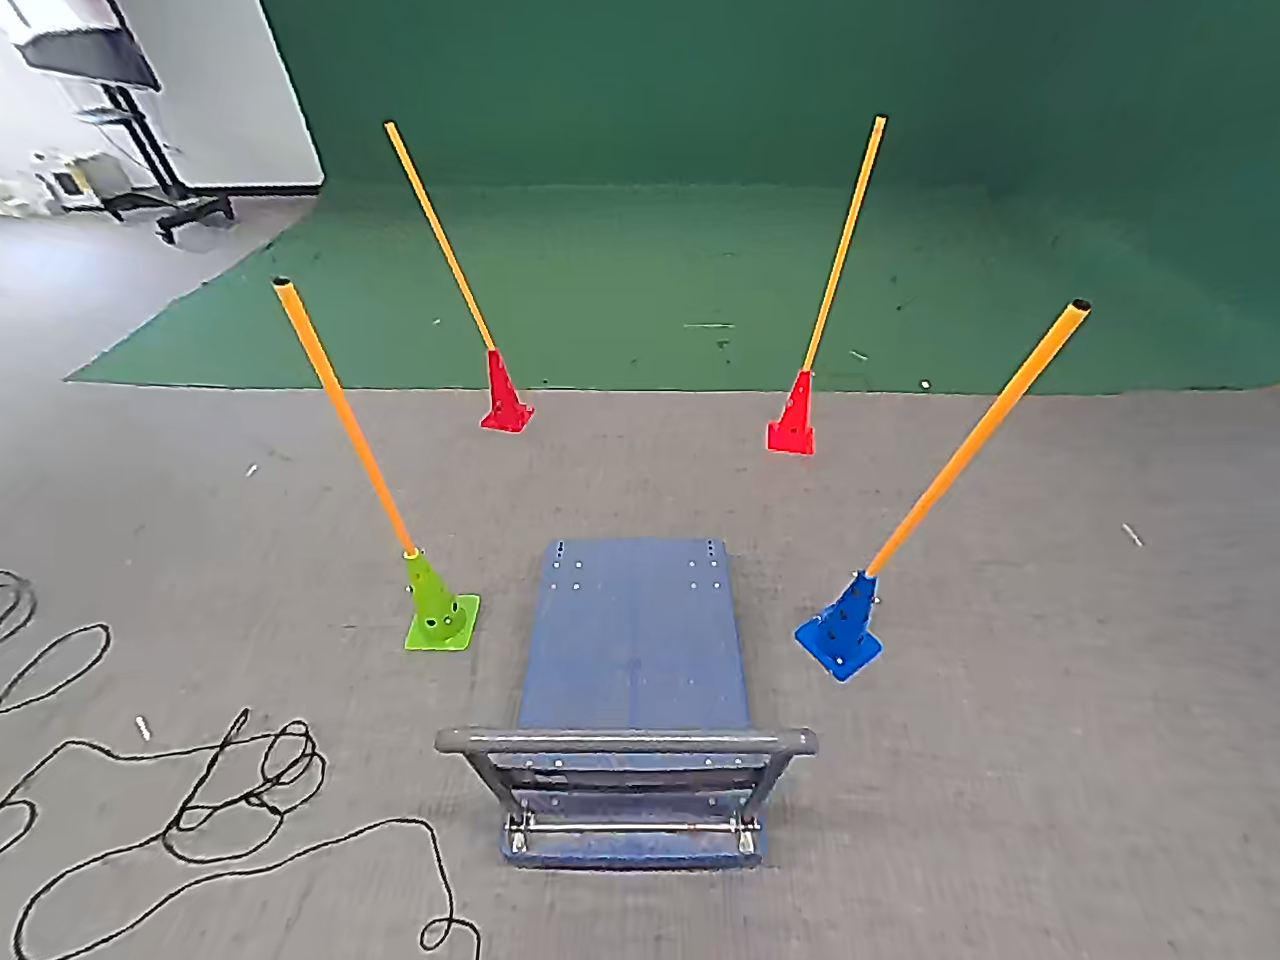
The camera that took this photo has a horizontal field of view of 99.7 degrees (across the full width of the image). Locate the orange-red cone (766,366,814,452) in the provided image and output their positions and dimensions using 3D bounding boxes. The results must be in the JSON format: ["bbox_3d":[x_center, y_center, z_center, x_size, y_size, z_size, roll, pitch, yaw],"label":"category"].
[{"bbox_3d":[0.654,-0.314,2.251,0.198,0.360,0.199,8,46,11],"label":"orange-red cone"}]
